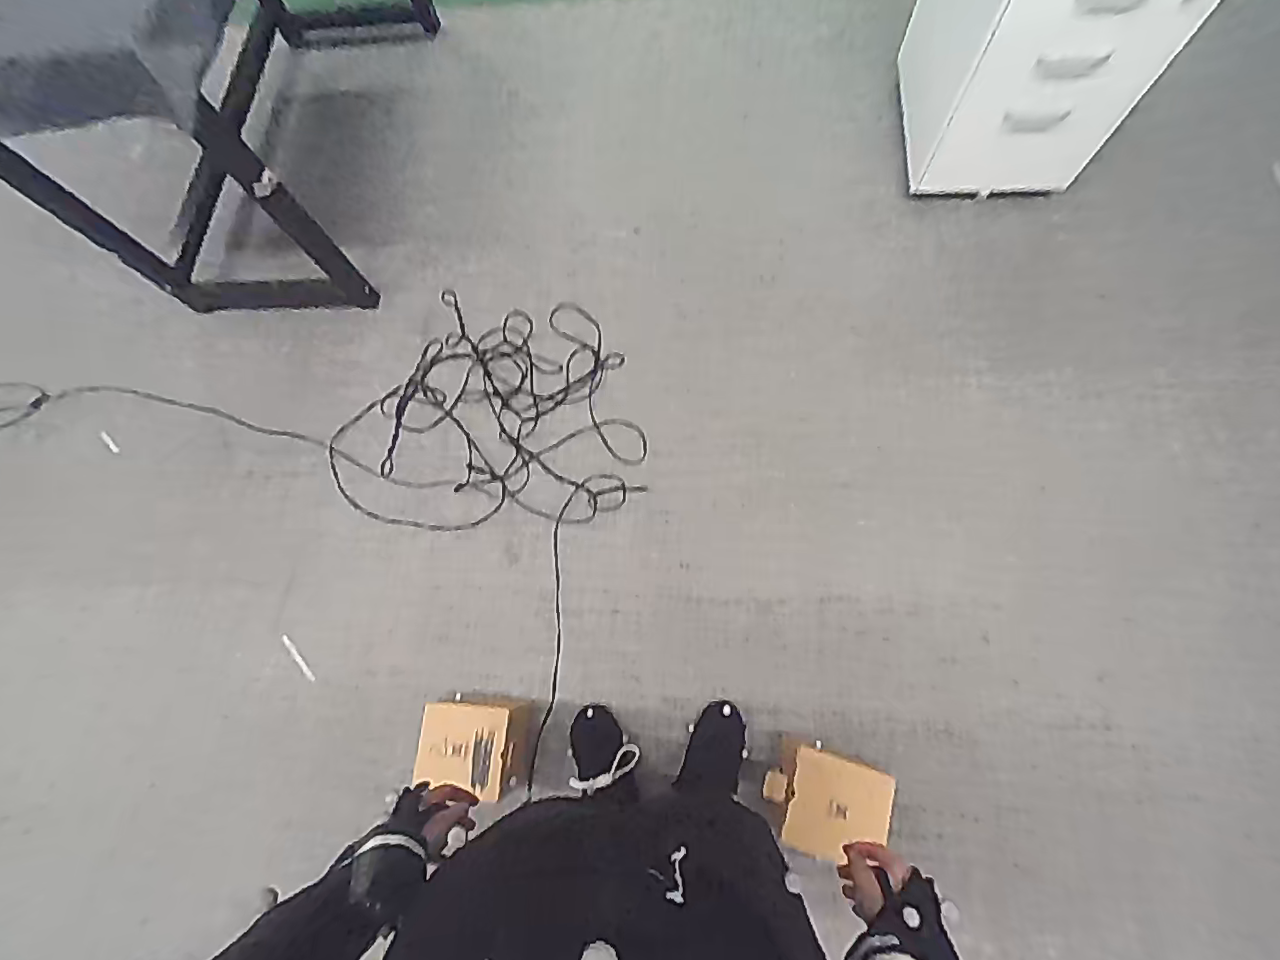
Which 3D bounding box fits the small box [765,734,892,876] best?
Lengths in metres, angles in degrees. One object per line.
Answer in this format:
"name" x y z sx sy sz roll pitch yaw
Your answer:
"small box" 0.352 0.605 1.035 0.179 0.176 0.168 15 75 10
